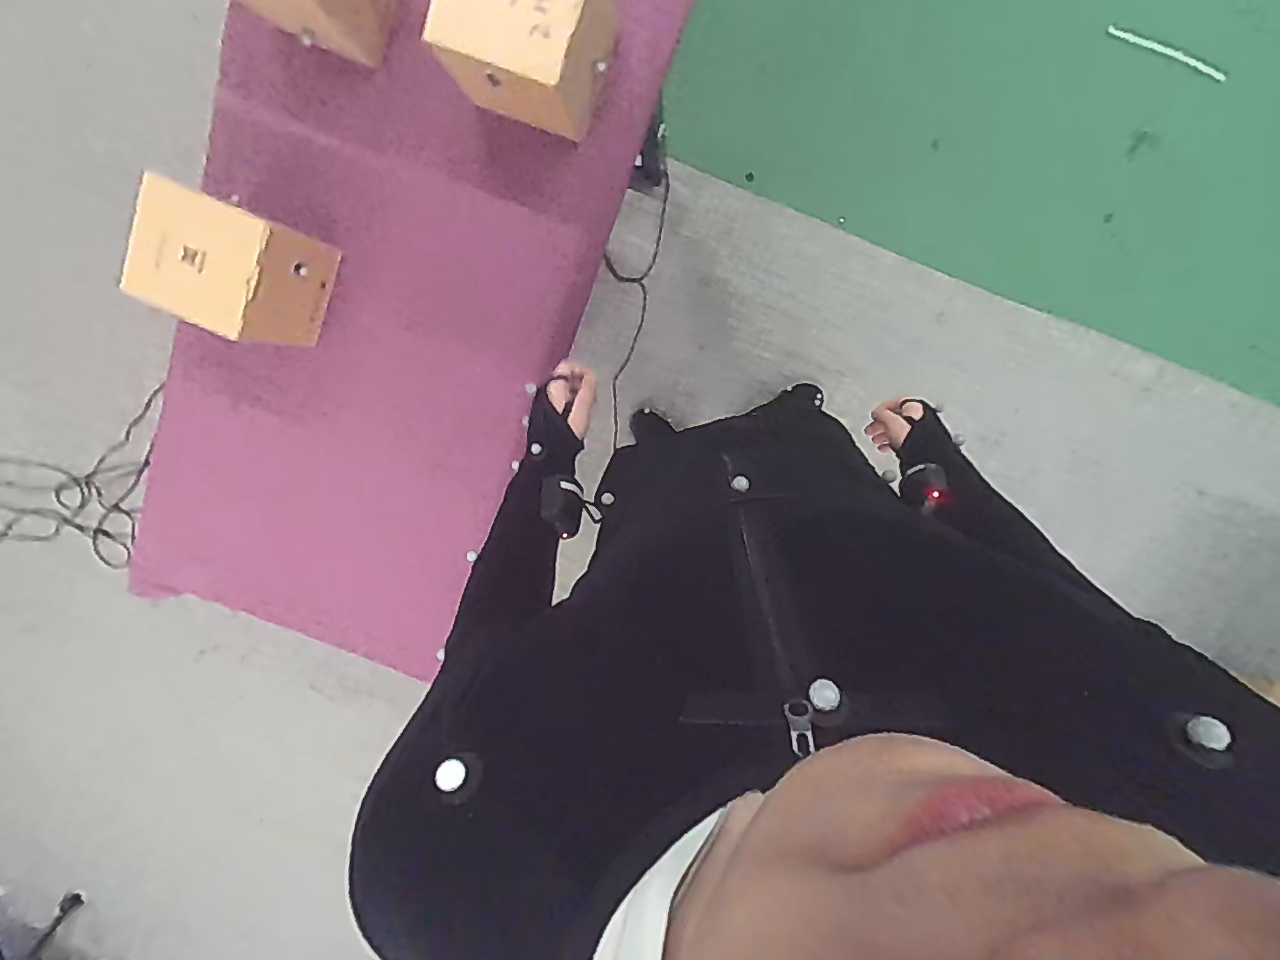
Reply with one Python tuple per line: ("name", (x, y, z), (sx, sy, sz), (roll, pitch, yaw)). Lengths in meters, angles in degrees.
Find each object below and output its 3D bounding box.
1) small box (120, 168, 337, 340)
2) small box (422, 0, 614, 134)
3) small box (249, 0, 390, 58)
("small box", (-0.592, -0.317, 0.800), (0.179, 0.176, 0.168), (24, 101, -1))
("small box", (-0.148, -0.594, 0.710), (0.179, 0.176, 0.168), (21, 103, 0))
("small box", (-0.443, -0.707, 0.711), (0.179, 0.176, 0.168), (22, 102, -3))
